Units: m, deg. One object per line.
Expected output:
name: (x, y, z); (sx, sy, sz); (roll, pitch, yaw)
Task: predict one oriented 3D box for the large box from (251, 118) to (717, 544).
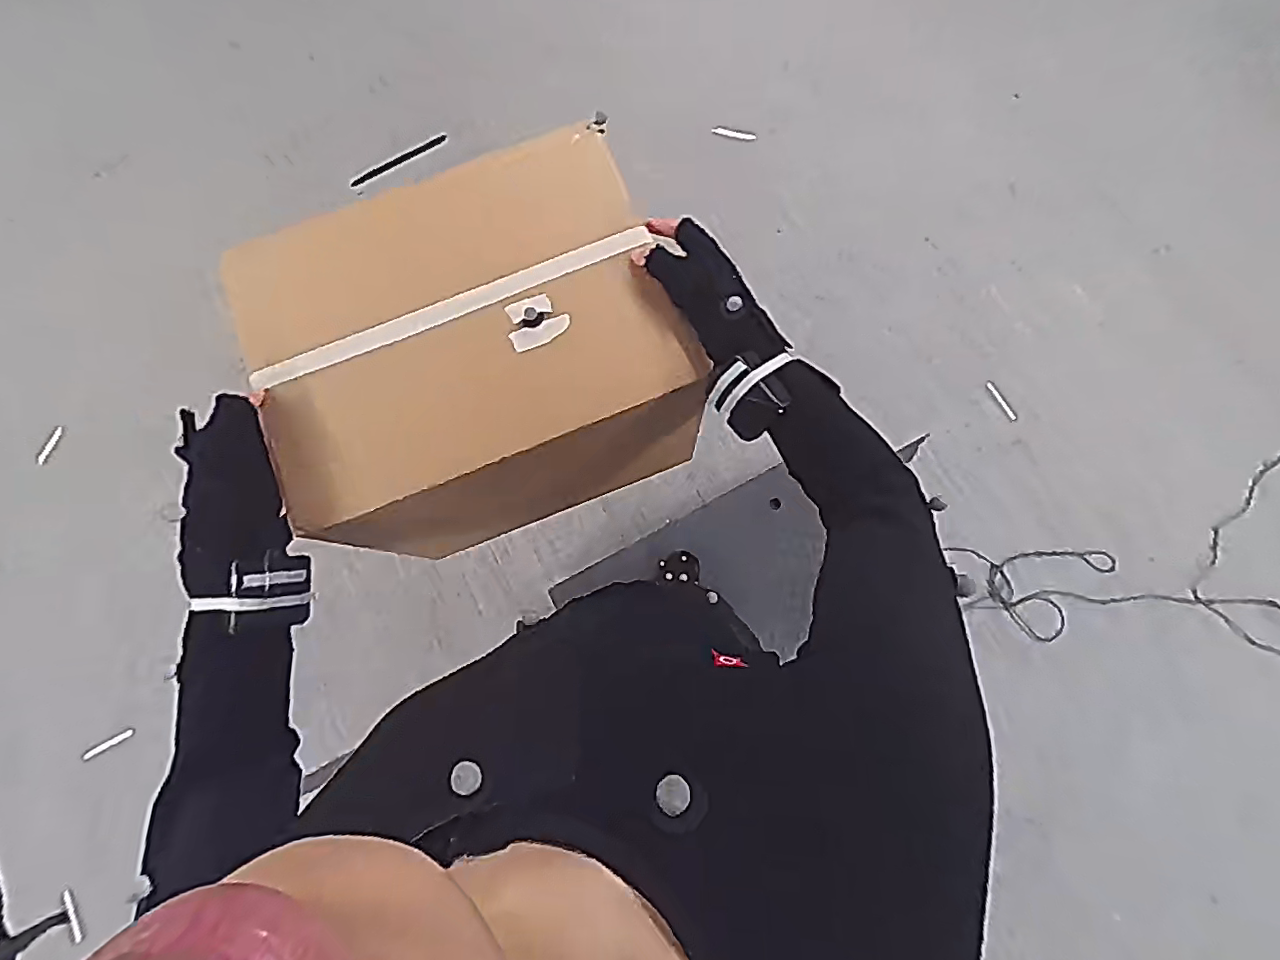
large box: (-0.161, -0.146, 0.679); (0.408, 0.320, 0.320); (-21, 78, -4)
